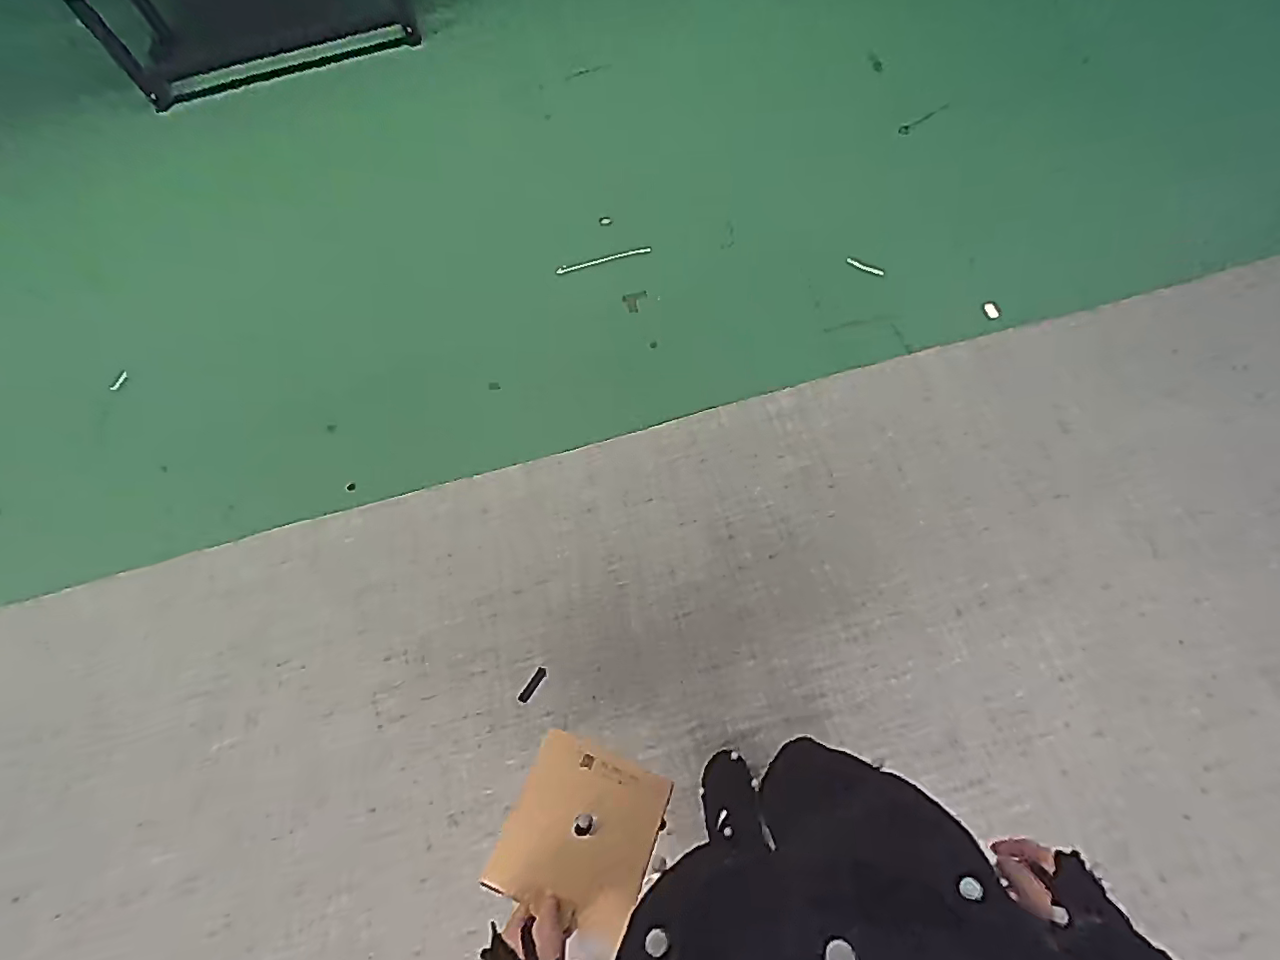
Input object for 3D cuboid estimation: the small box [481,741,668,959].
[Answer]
[{"bbox_3d":[-0.075,0.447,0.670,0.168,0.179,0.176,21,54,7],"label":"small box"}]
